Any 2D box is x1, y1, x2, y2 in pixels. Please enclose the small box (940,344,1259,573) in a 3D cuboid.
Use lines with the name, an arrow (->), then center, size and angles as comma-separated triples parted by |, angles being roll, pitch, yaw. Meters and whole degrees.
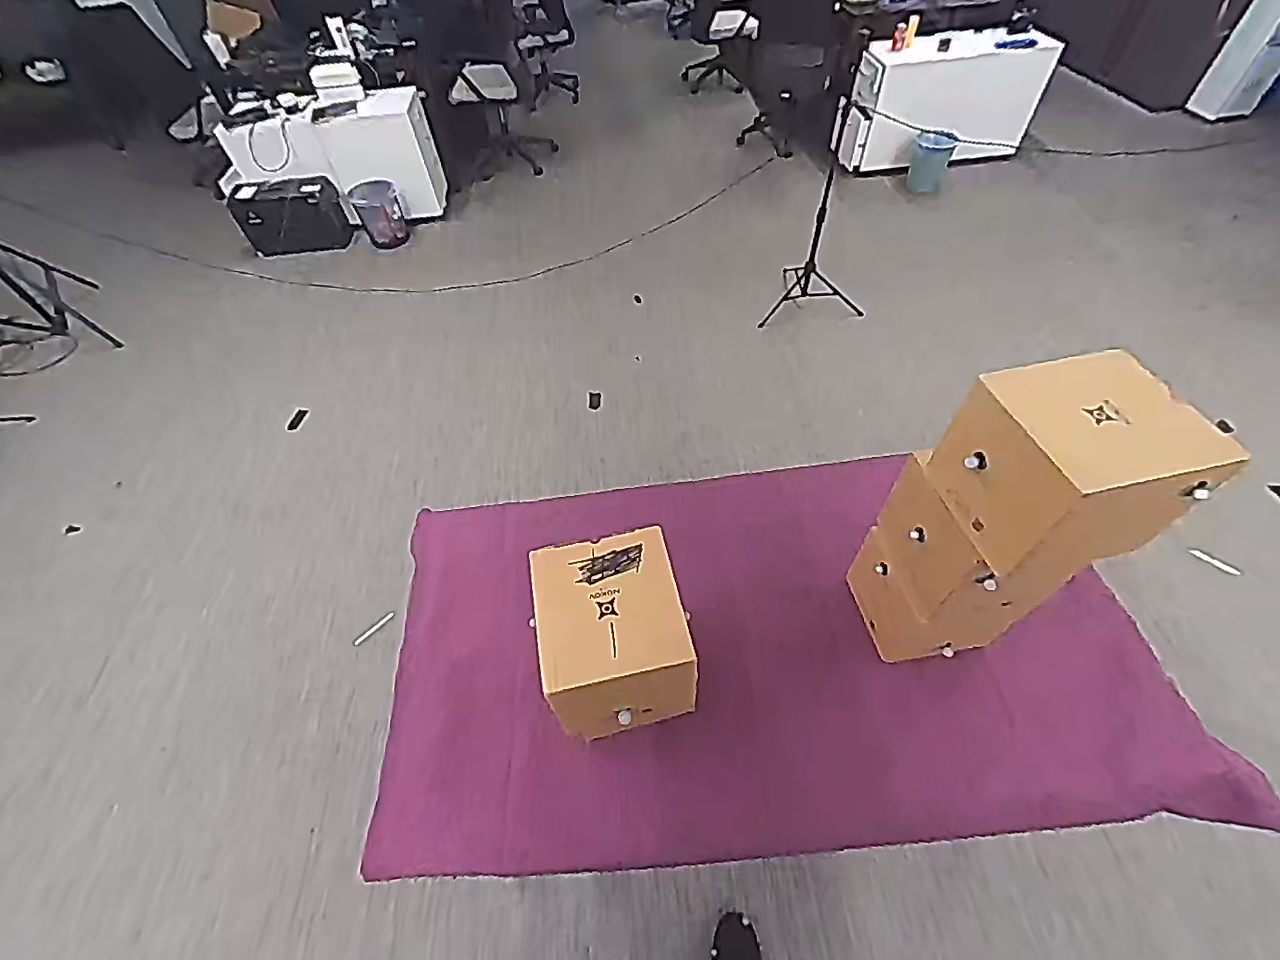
small box -> 0.460, -0.018, 0.587 | 0.179, 0.176, 0.168 | -11, 52, -5

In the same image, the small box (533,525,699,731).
small box -> -0.031, 0.184, 0.667 | 0.168, 0.176, 0.179 | -11, 53, -5

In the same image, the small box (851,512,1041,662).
small box -> 0.465, 0.170, 0.856 | 0.179, 0.176, 0.168 | -9, 52, -4
